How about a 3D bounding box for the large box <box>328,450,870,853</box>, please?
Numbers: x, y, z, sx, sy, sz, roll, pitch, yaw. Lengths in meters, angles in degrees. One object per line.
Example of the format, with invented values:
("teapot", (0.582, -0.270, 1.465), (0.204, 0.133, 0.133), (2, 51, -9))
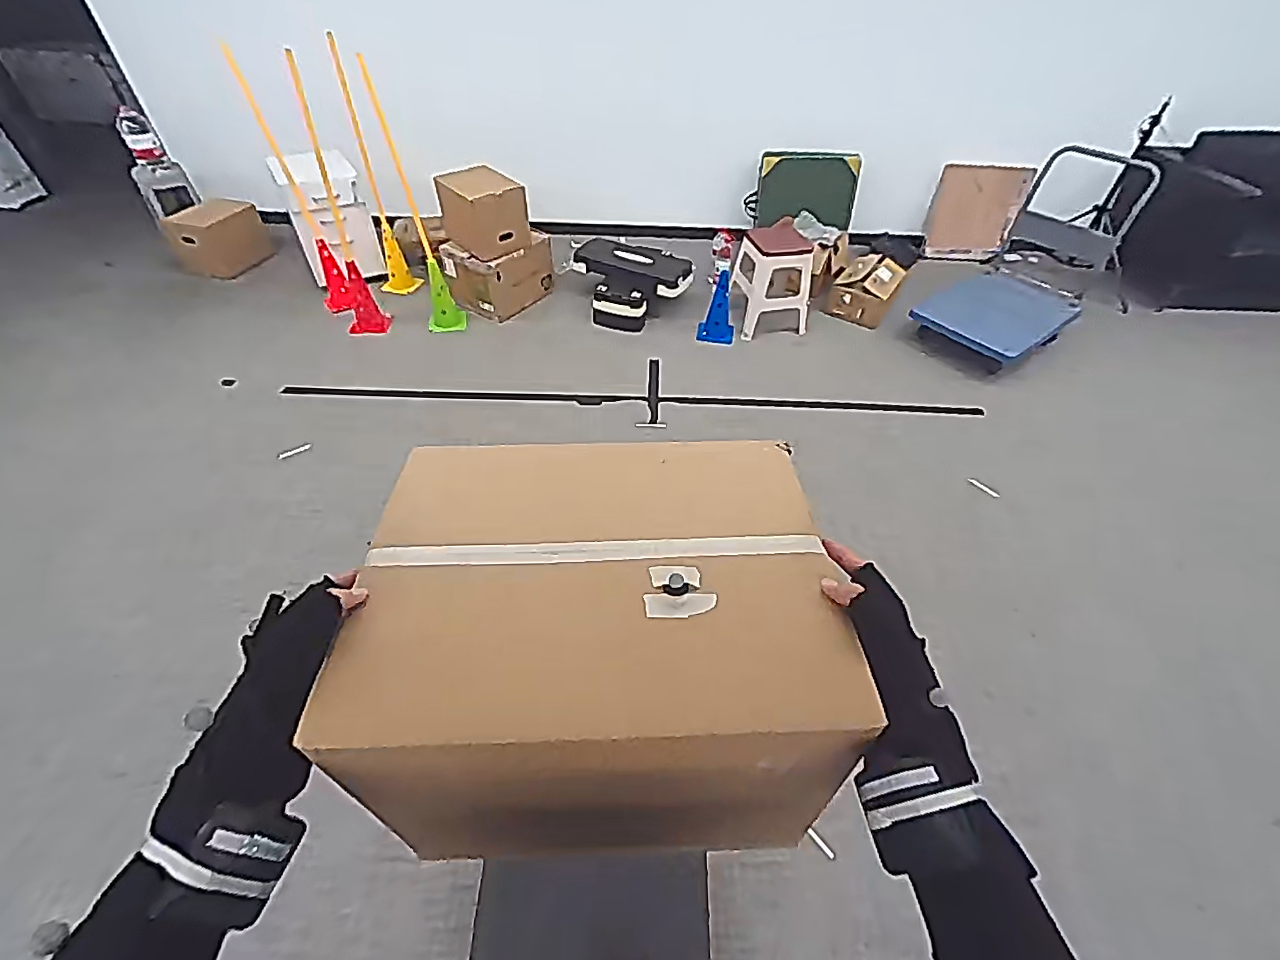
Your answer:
("large box", (-0.035, 0.184, 0.598), (0.408, 0.320, 0.320), (-1, 43, -2))
